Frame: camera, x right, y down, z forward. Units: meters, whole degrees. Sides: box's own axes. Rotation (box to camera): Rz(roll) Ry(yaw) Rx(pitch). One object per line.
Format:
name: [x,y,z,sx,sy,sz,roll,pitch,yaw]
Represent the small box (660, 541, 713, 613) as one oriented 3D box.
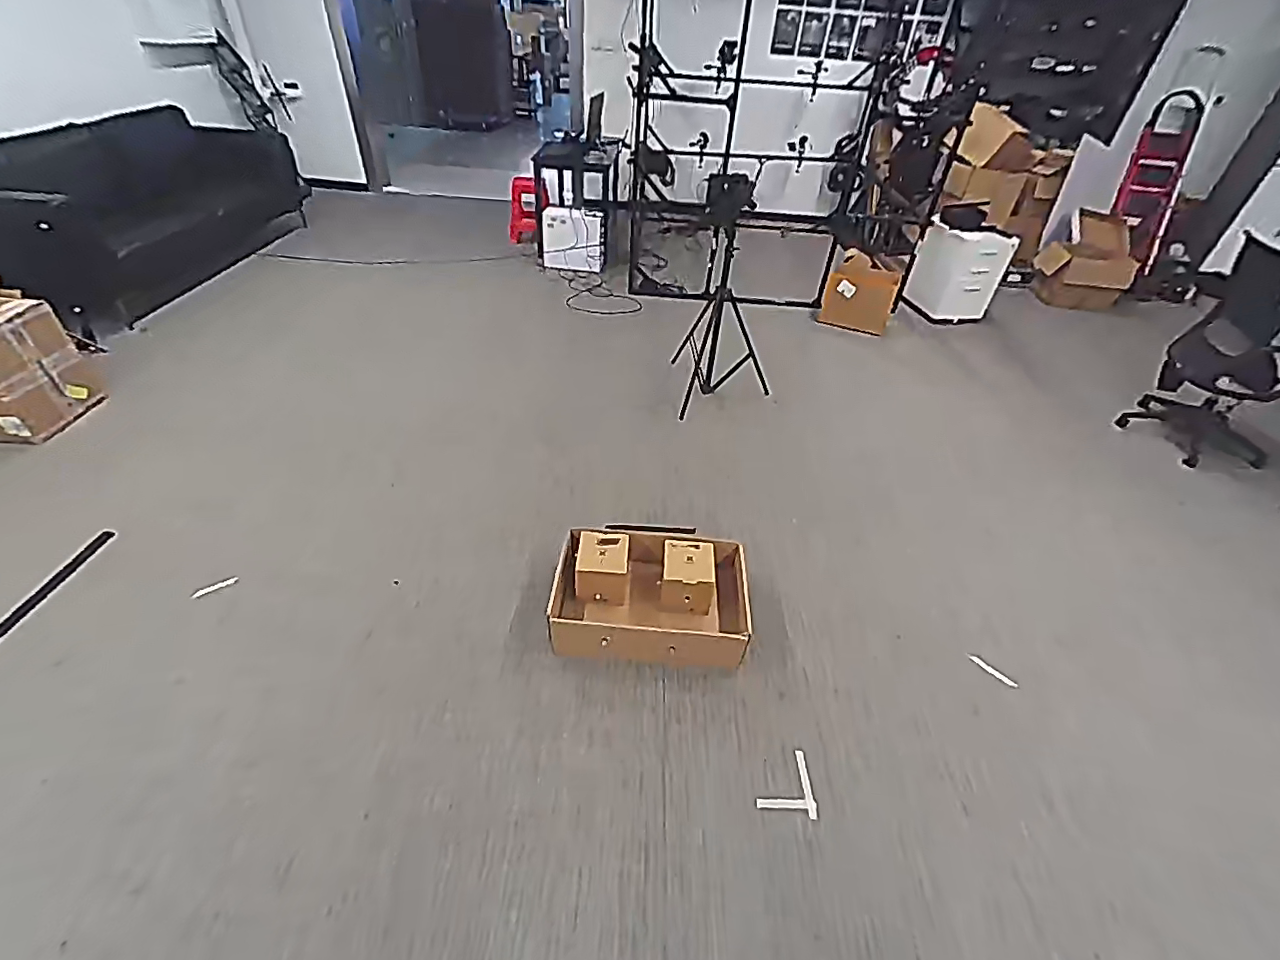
small box: [0.156,0.330,1.823,0.168,0.176,0.179,5,41,1]
